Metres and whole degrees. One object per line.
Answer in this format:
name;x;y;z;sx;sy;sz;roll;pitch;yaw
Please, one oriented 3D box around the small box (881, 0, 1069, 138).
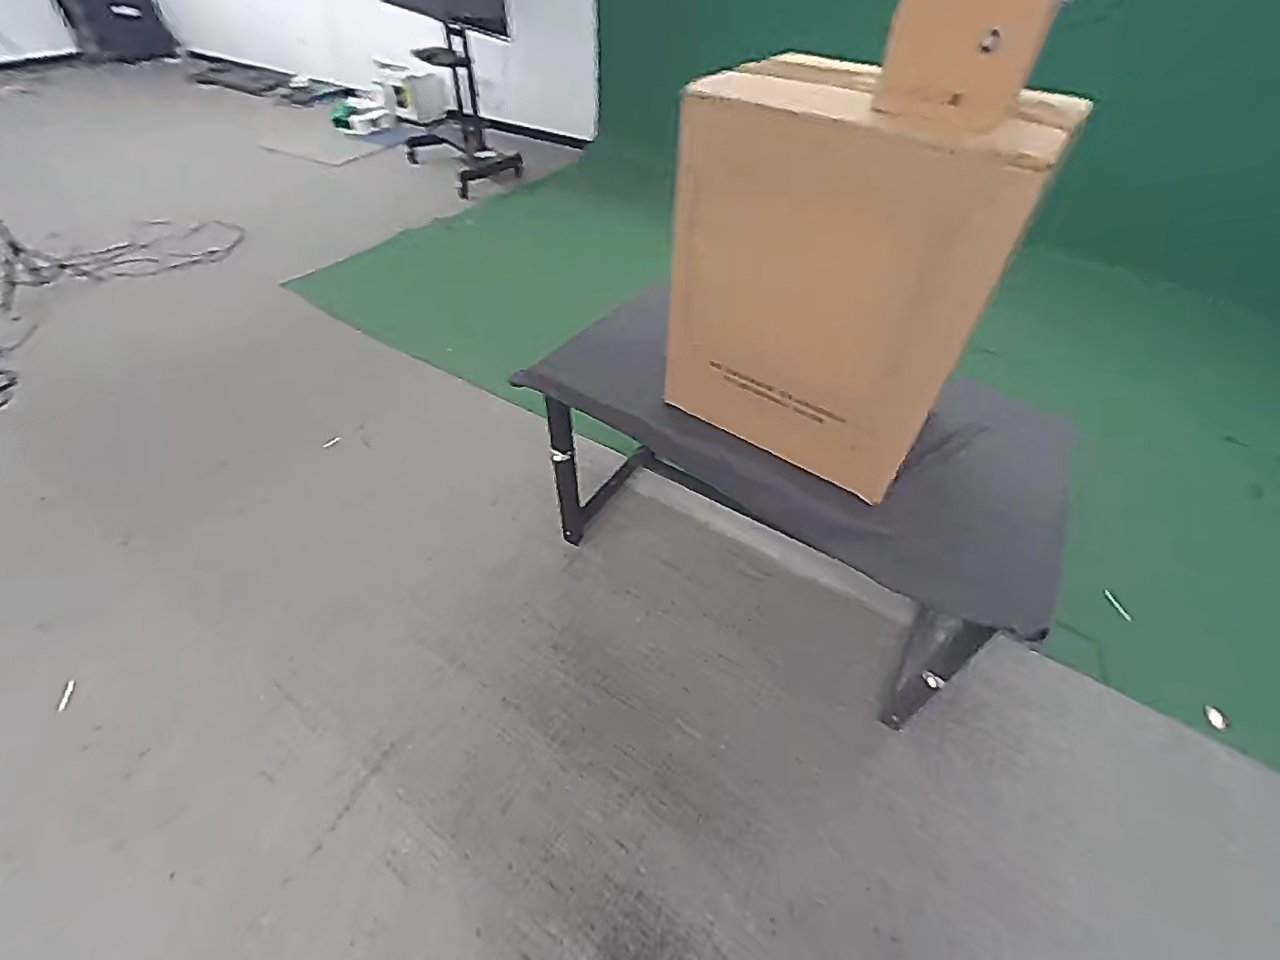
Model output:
small box;0.444;-0.579;0.716;0.168;0.176;0.179;28;53;18
